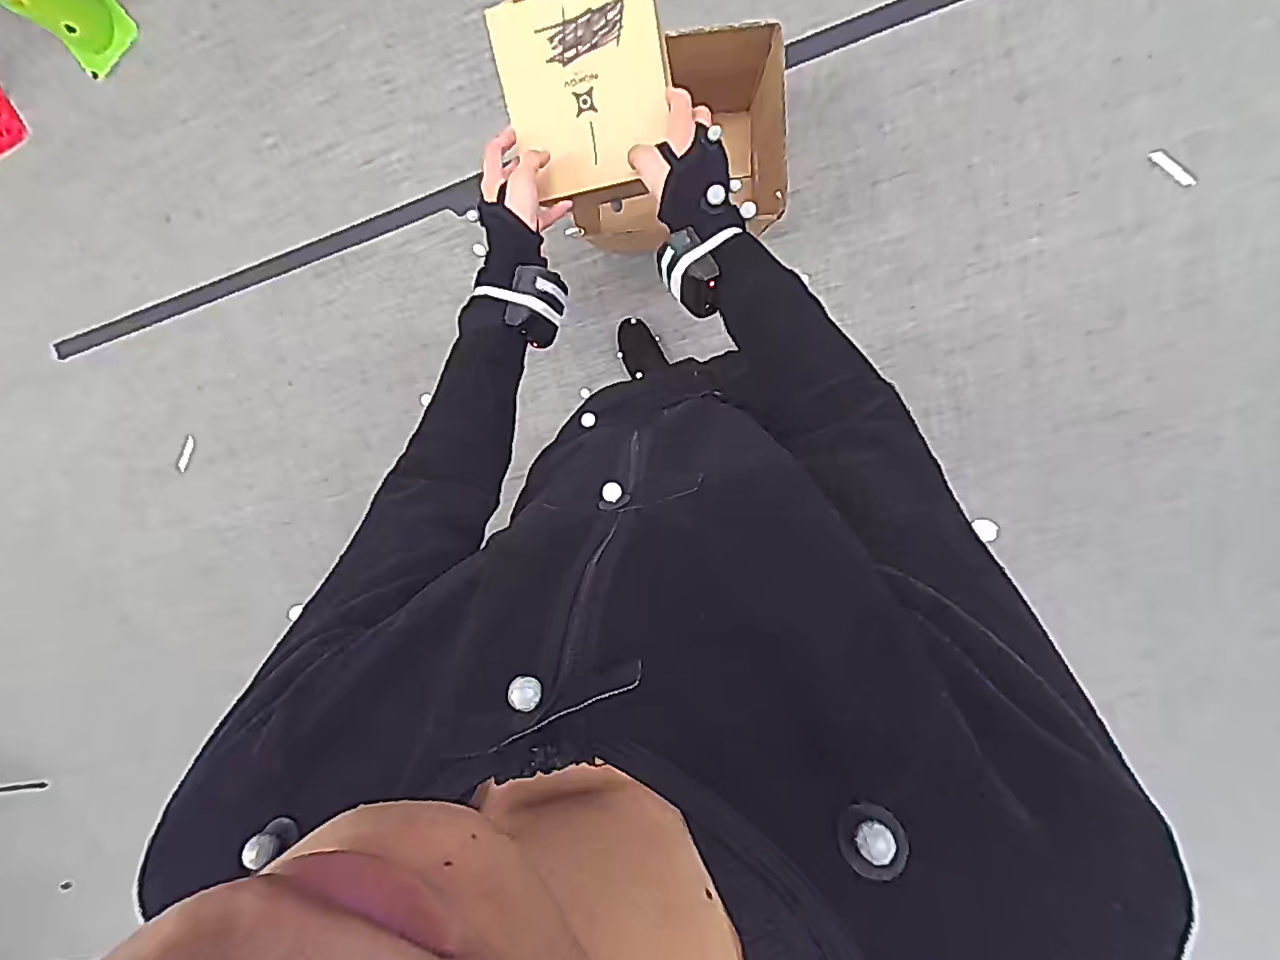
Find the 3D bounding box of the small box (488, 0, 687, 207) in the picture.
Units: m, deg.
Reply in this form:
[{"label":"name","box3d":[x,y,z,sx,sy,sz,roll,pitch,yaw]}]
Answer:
[{"label":"small box","box3d":[-0.043,-0.421,0.605,0.168,0.176,0.179,-8,113,11]}]
